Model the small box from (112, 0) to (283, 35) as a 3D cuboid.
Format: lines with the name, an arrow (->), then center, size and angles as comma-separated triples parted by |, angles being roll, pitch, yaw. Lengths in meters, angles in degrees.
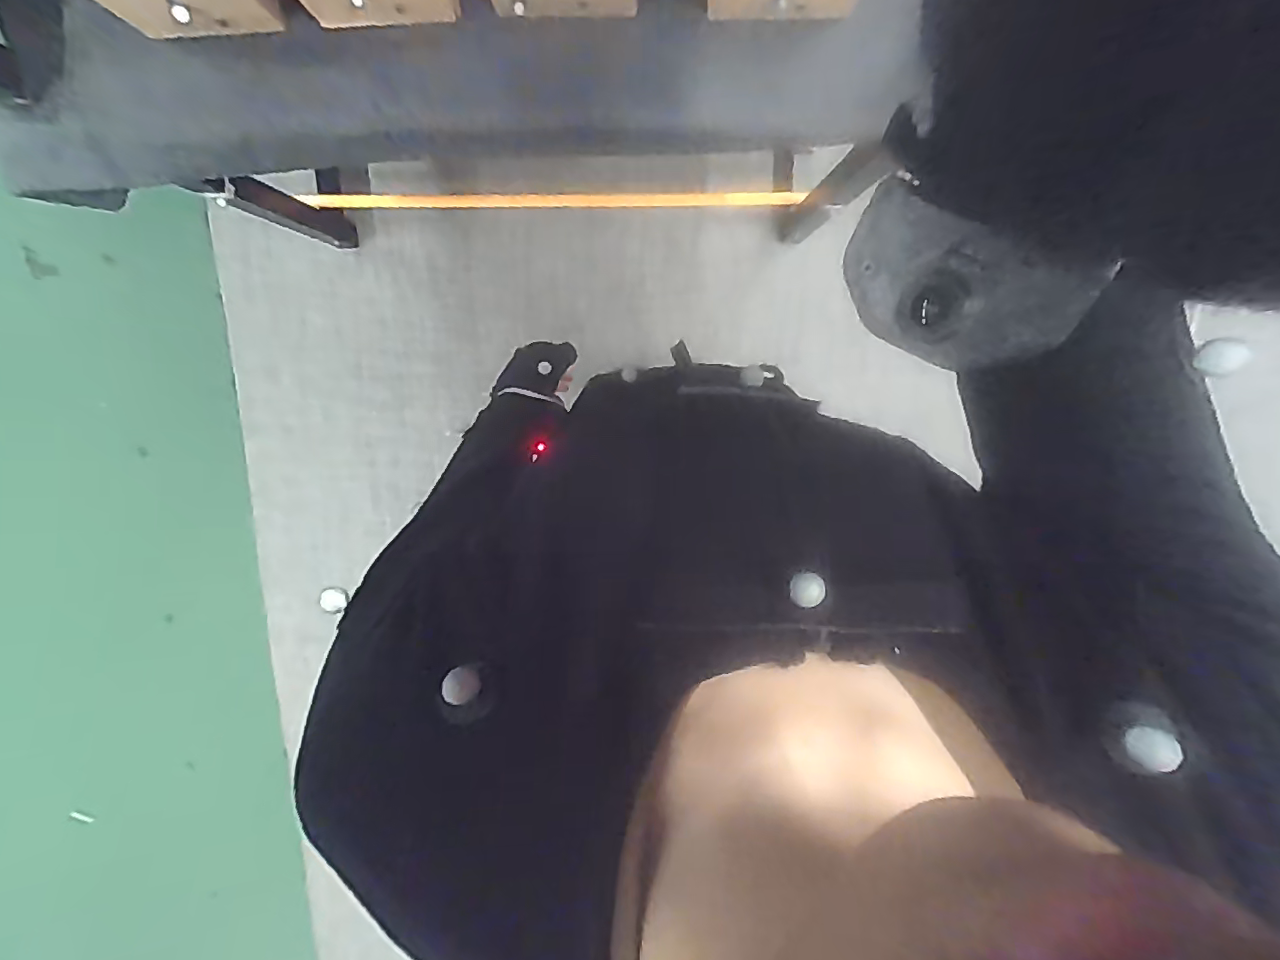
small box -> -0.500, -0.597, 0.541 | 0.168, 0.176, 0.179 | -3, 101, 1
